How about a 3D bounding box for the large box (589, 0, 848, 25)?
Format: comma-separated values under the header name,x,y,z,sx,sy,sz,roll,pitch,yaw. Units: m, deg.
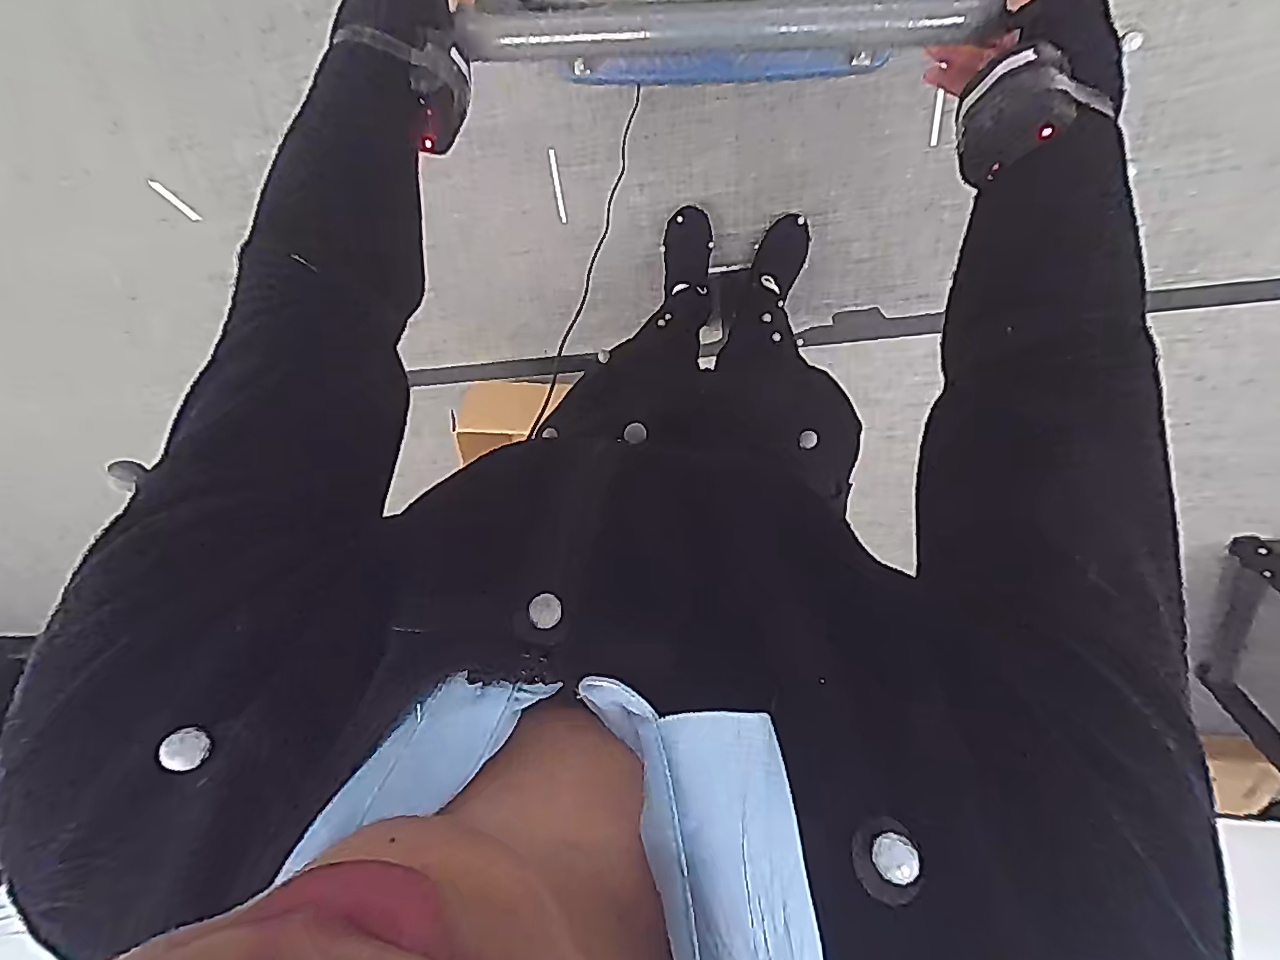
name,x,y,z,sx,sy,sz,roll,pitch,yaw
large box,0.116,-0.832,0.707,0.408,0.320,0.320,3,123,7
